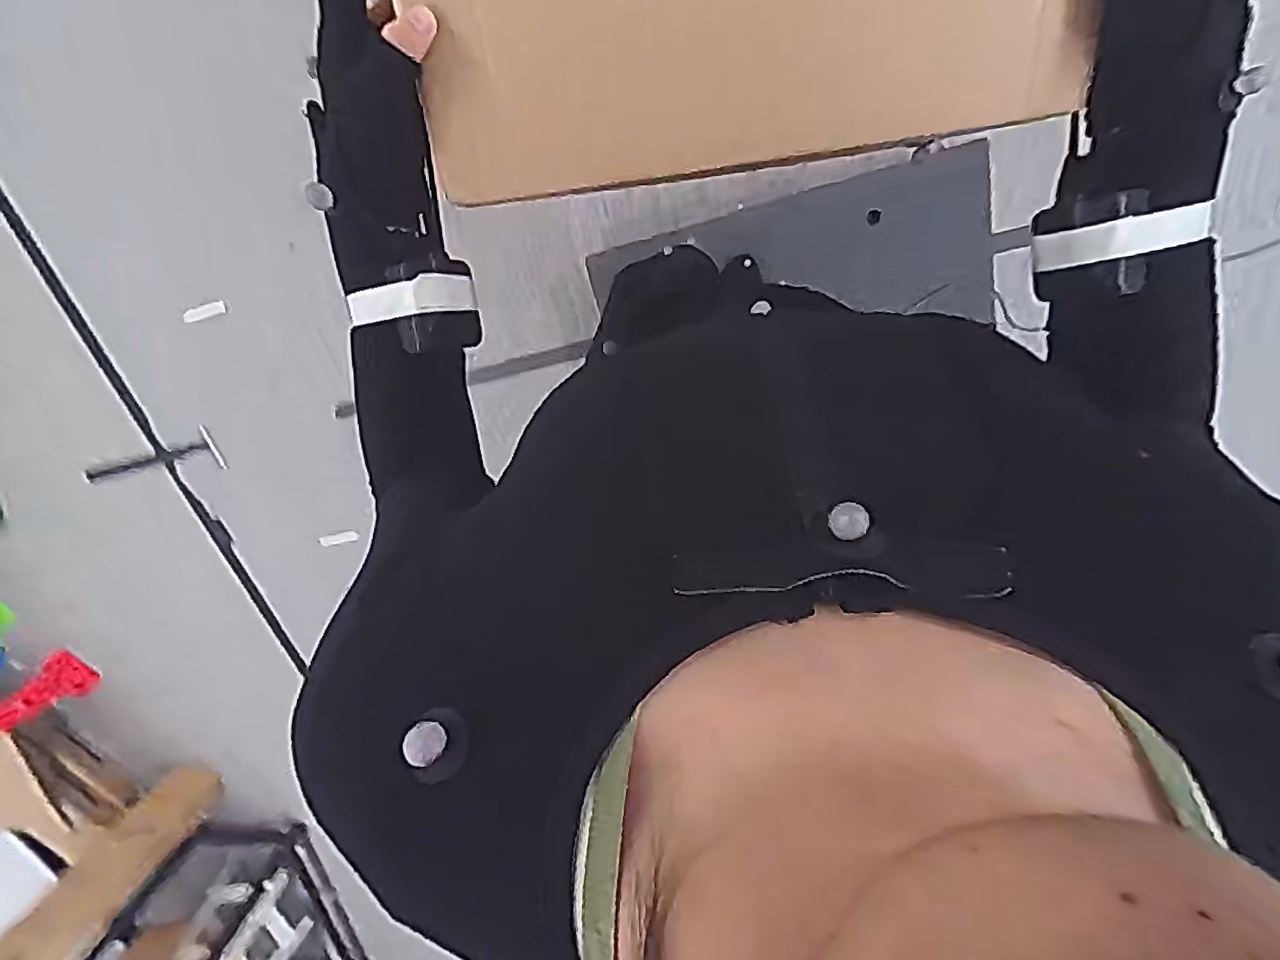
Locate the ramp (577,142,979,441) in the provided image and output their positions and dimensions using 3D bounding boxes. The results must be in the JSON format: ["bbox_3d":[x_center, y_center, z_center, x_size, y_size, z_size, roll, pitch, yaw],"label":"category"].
[{"bbox_3d":[0.382,-0.467,1.394,0.991,0.206,0.509,-15,110,10],"label":"ramp"}]

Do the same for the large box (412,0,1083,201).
[{"bbox_3d":[0.060,-0.419,0.419,0.408,0.320,0.320,-5,118,5],"label":"large box"}]
